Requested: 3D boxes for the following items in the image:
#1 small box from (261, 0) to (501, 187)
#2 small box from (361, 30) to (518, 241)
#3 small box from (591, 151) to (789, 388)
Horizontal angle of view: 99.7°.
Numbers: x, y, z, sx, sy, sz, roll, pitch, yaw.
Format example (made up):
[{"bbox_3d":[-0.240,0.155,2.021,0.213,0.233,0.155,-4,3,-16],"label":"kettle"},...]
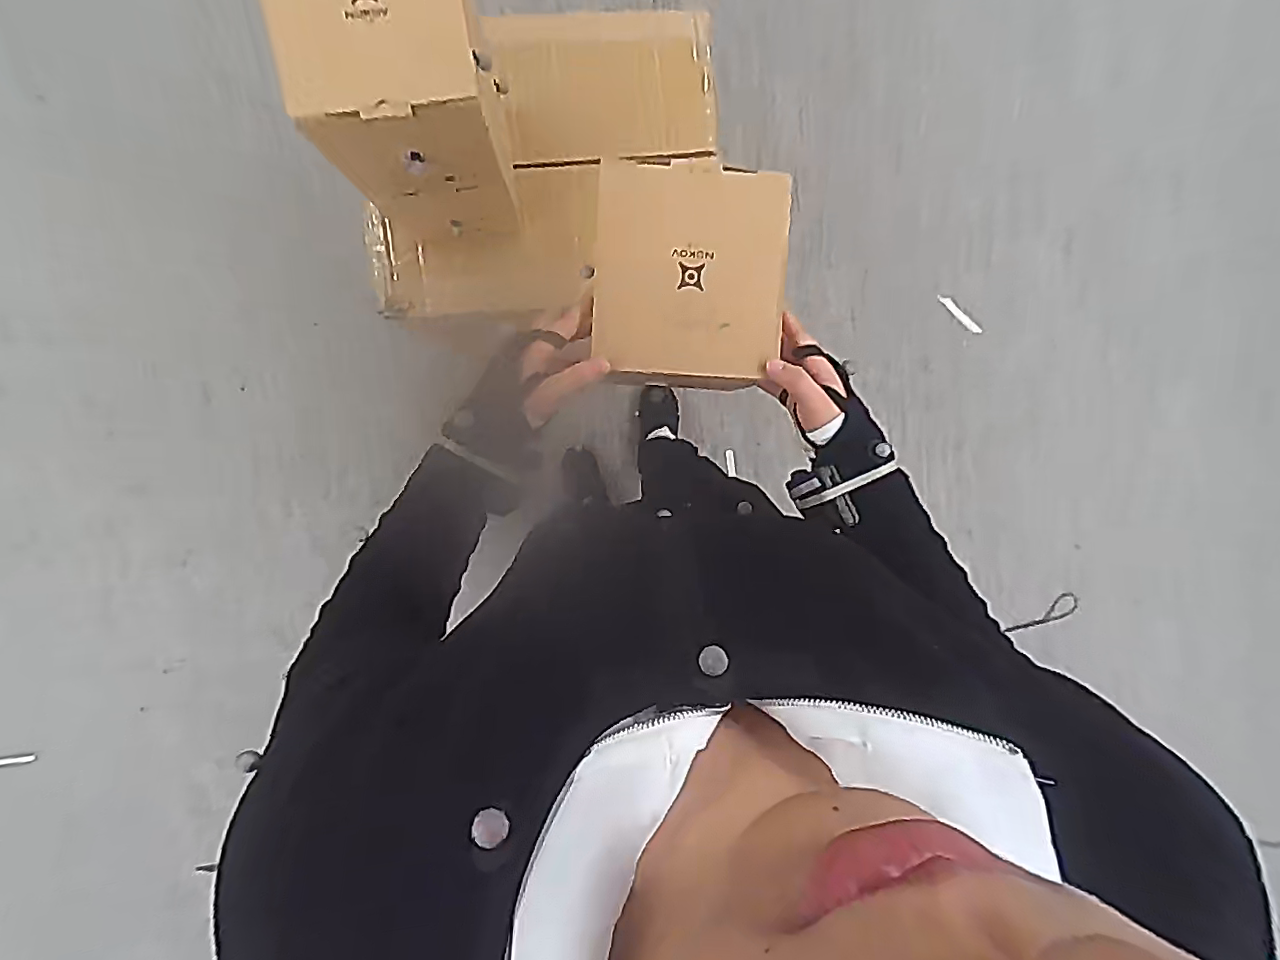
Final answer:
[{"bbox_3d":[-0.244,-0.416,0.541,0.168,0.176,0.179,-9,98,-5],"label":"small box"},{"bbox_3d":[-0.259,-0.433,0.703,0.168,0.176,0.179,-8,98,-5],"label":"small box"},{"bbox_3d":[0.037,-0.191,0.542,0.168,0.176,0.179,2,95,-4],"label":"small box"}]
